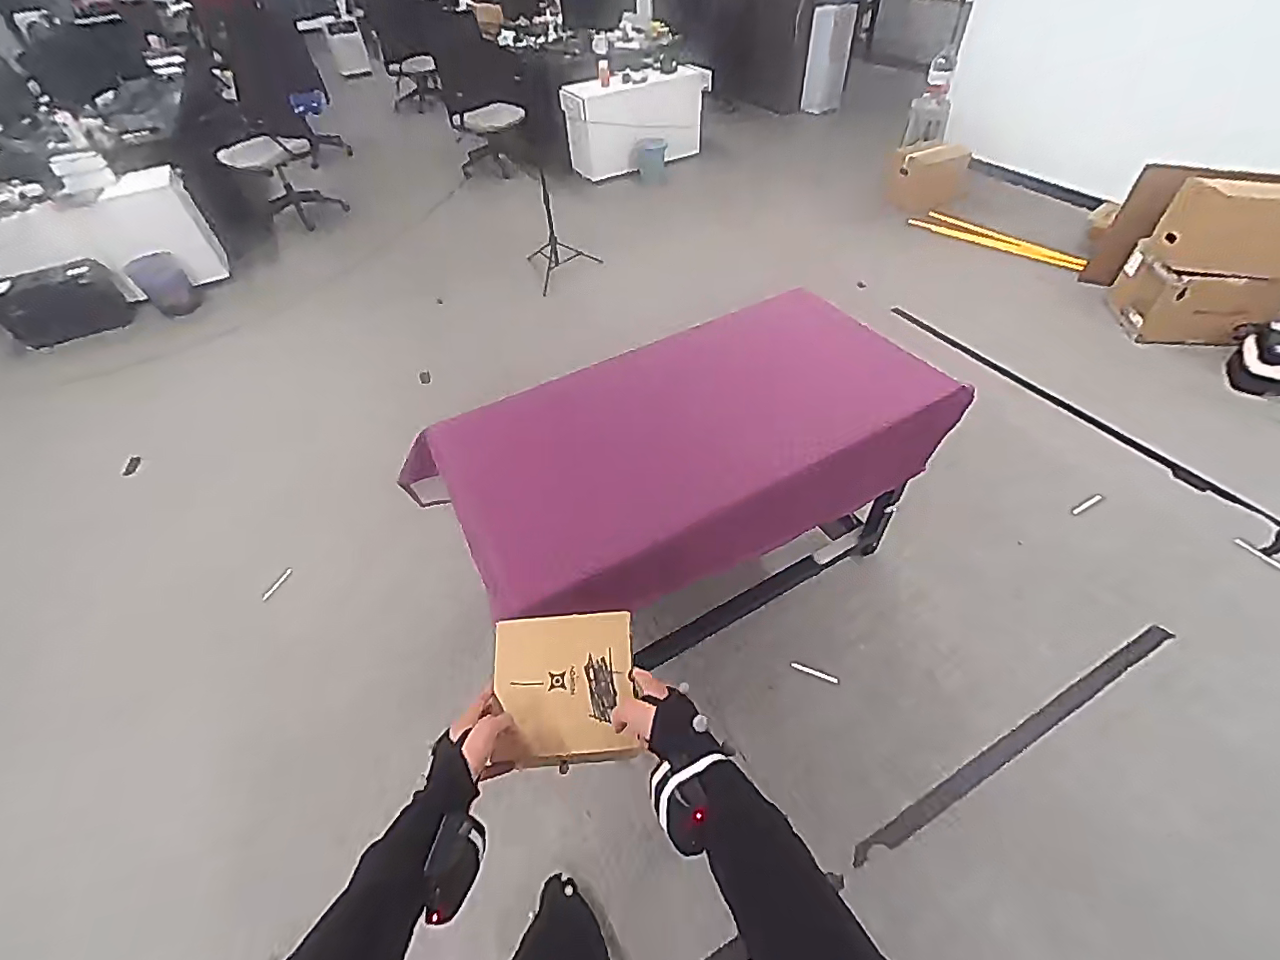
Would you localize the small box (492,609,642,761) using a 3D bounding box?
[{"bbox_3d":[-0.093,0.283,0.737,0.179,0.176,0.168,-3,59,-3],"label":"small box"}]
